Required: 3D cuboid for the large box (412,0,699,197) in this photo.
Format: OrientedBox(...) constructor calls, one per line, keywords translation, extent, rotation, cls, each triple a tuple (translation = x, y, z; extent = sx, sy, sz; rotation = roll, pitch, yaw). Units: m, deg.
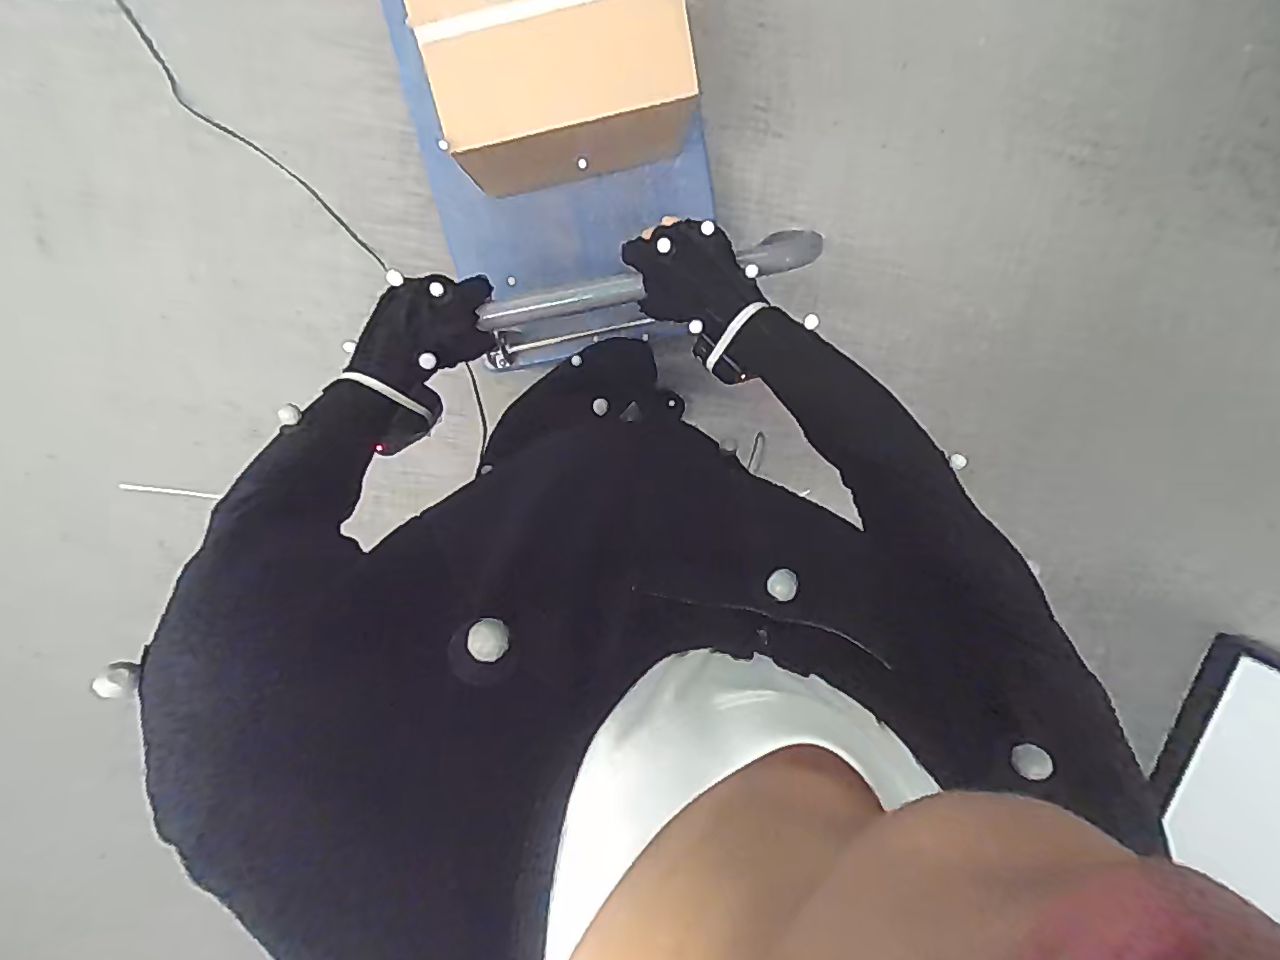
OrientedBox(translation=(-0.138, -0.742, 0.958), extent=(0.408, 0.320, 0.320), rotation=(-13, 105, 1), cls="large box")
